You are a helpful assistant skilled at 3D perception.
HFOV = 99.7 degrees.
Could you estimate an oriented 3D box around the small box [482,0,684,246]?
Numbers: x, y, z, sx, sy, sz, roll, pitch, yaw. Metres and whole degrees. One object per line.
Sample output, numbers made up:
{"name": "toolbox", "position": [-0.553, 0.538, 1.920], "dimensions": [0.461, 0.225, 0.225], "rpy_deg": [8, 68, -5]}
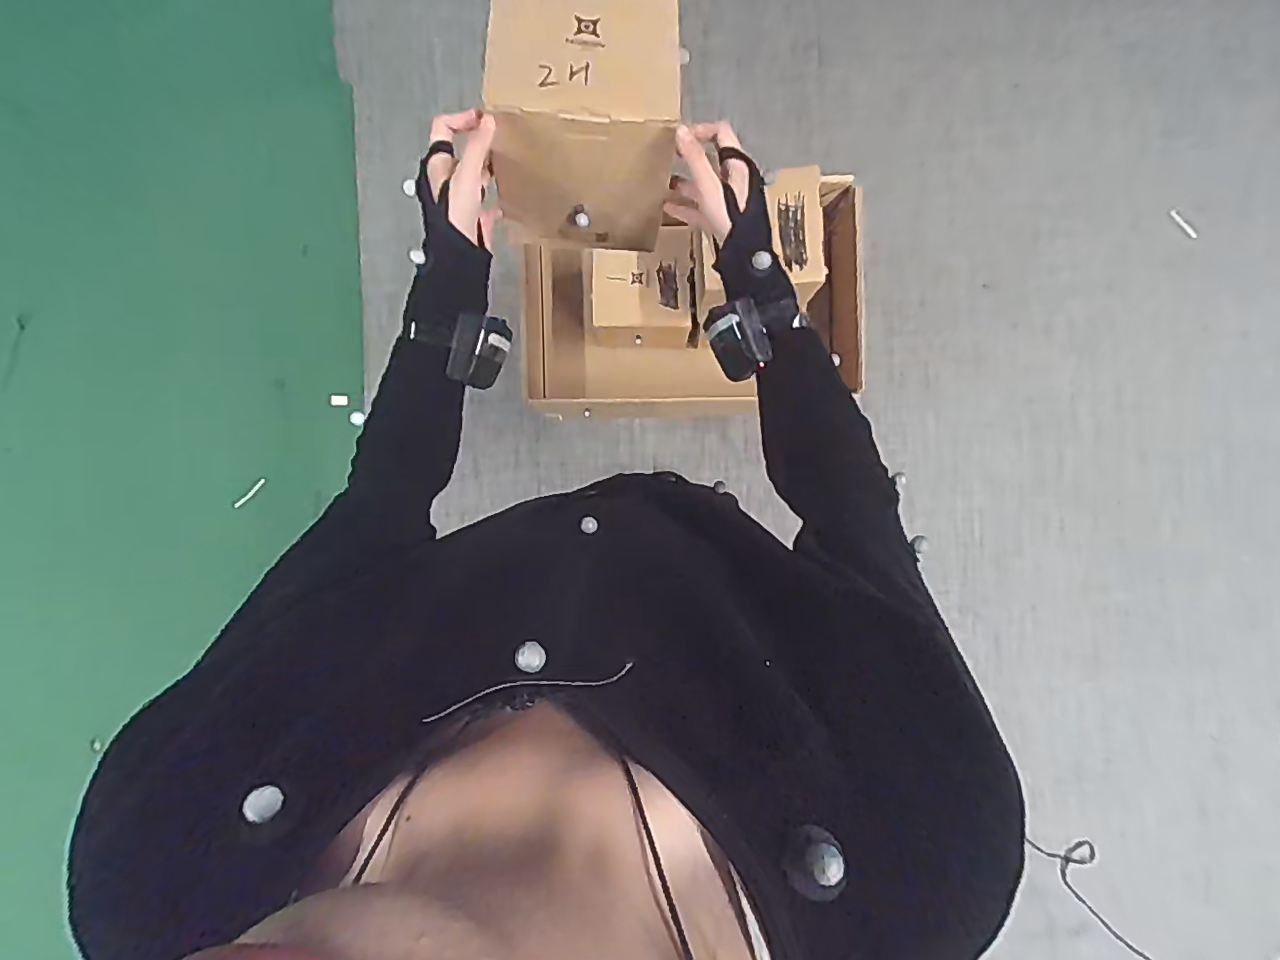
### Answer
{"name": "small box", "position": [-0.052, -0.365, 0.534], "dimensions": [0.168, 0.176, 0.179], "rpy_deg": [2, 76, -5]}
